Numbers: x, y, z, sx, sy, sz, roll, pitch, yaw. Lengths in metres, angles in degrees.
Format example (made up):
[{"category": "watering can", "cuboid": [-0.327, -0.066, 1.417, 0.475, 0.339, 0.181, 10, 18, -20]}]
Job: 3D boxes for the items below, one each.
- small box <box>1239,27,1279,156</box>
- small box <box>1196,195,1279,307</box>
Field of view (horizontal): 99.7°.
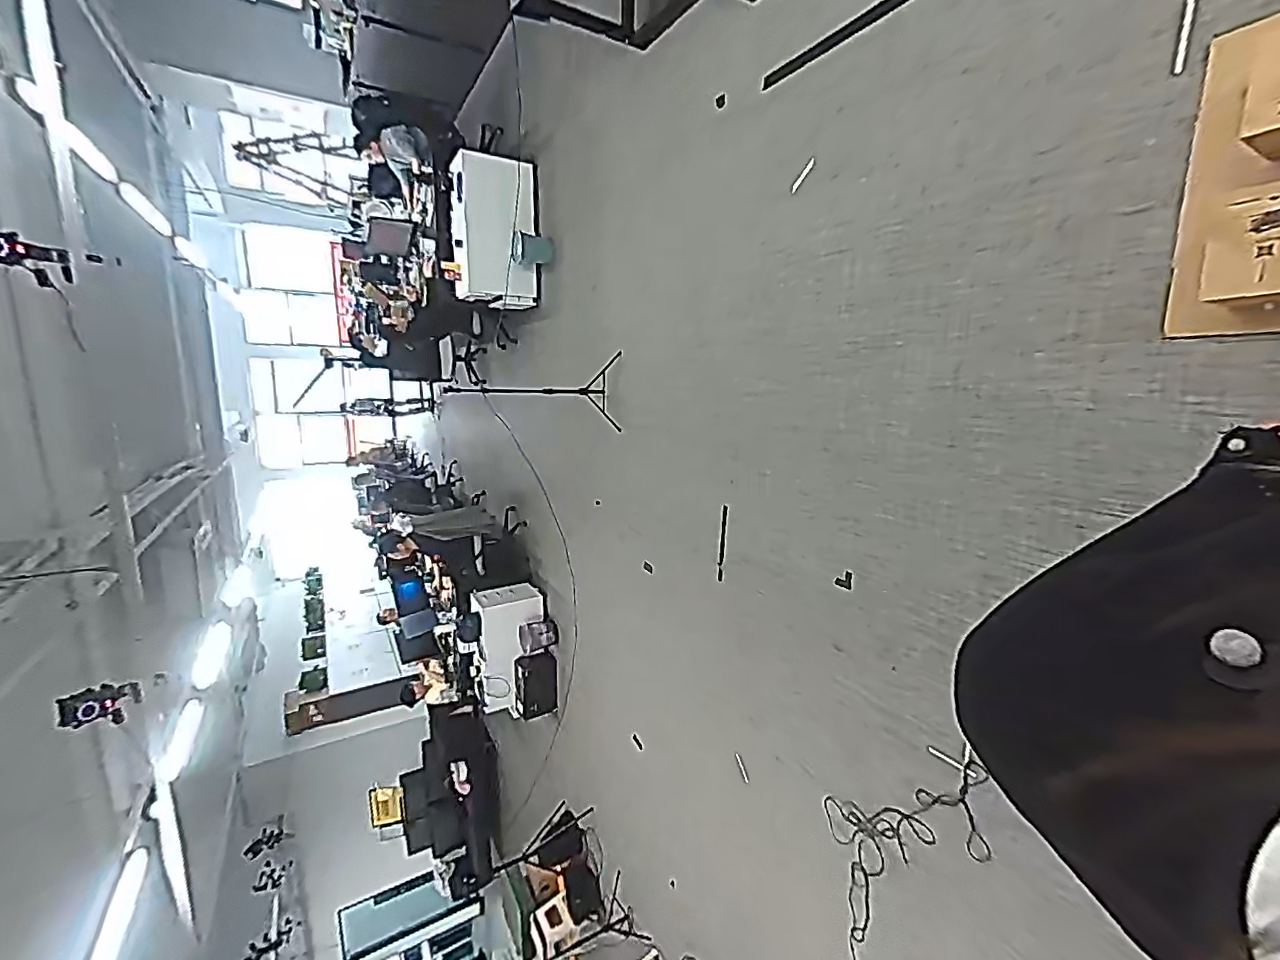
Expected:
[{"category": "small box", "cuboid": [1.220, -0.709, 0.958, 0.168, 0.176, 0.179, 17, 109, 58]}, {"category": "small box", "cuboid": [1.208, -0.432, 1.024, 0.168, 0.176, 0.179, 15, 109, 59]}]
